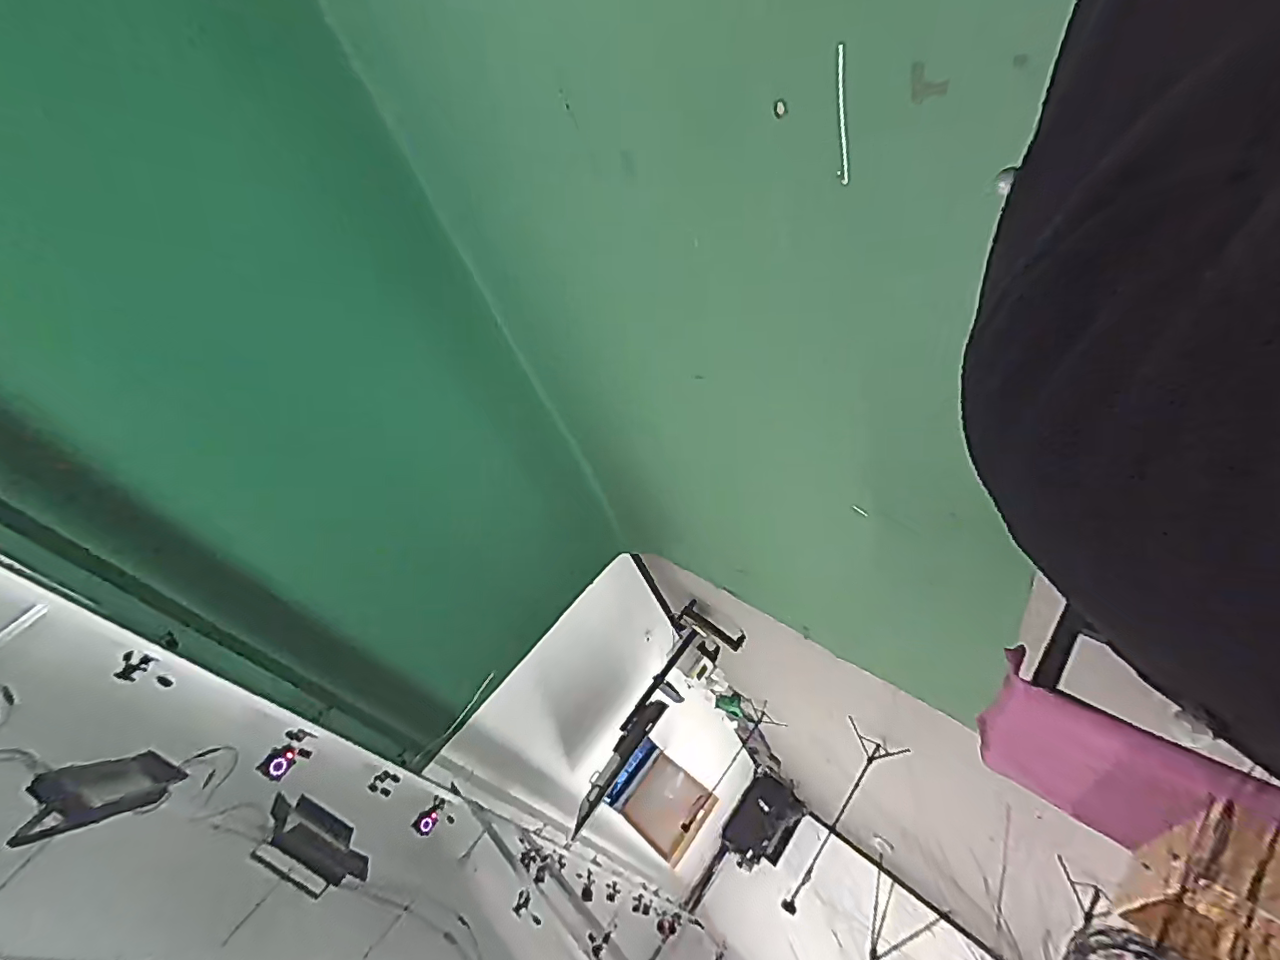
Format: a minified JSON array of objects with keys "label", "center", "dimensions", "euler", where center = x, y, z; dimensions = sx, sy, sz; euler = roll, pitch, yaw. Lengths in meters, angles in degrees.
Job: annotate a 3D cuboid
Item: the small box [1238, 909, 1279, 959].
[{"label":"small box","center":[1.461,1.087,1.183],"dimensions":[0.168,0.176,0.179],"euler":[25,151,39]}]
